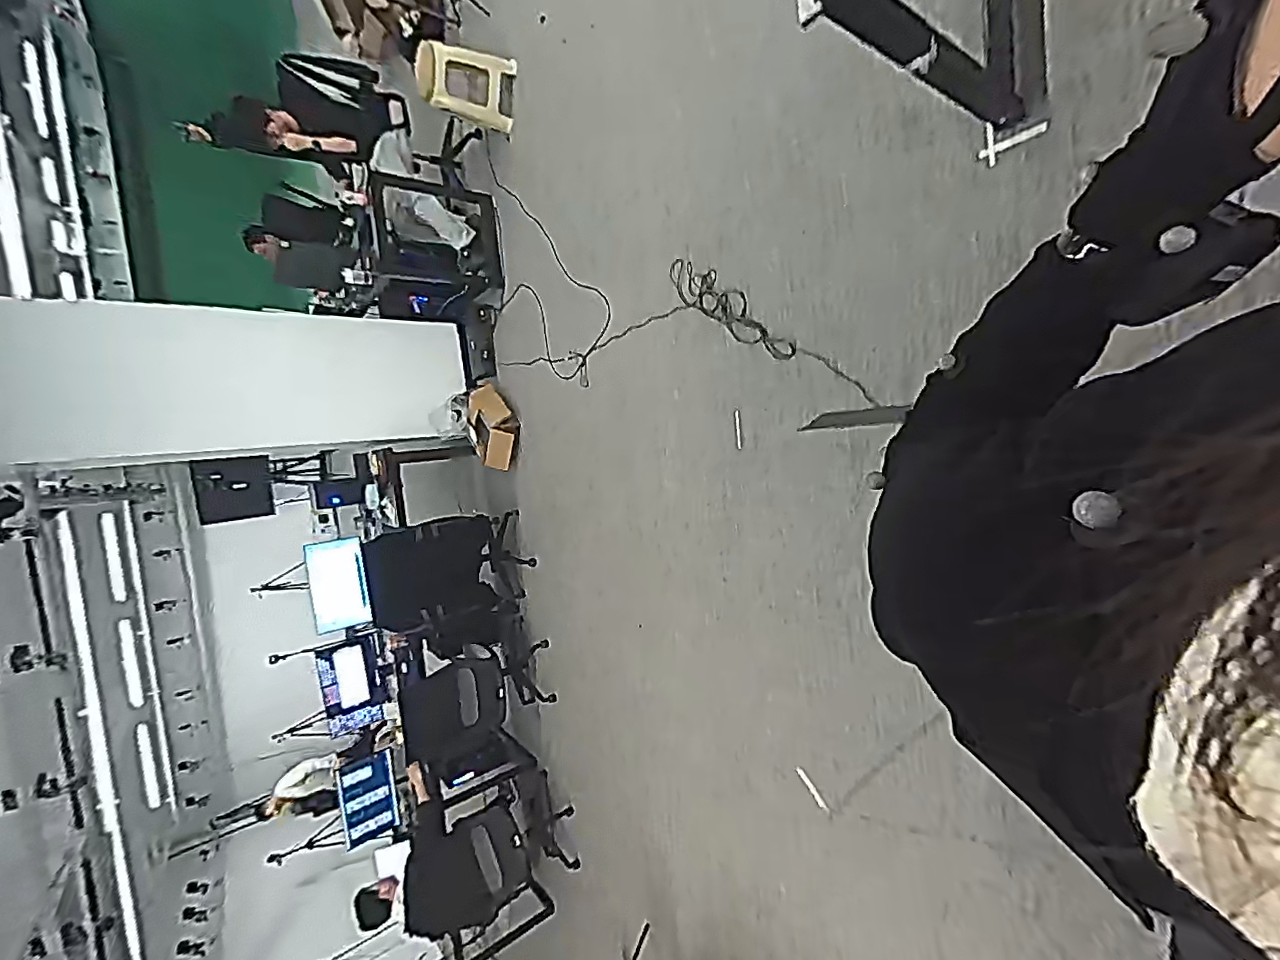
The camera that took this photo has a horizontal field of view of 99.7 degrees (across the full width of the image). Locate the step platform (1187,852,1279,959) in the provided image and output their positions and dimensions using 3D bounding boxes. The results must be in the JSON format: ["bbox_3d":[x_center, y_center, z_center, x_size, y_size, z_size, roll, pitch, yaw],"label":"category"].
[{"bbox_3d":[1.297,0.920,0.803,0.684,0.204,0.286,9,104,51],"label":"step platform"}]
